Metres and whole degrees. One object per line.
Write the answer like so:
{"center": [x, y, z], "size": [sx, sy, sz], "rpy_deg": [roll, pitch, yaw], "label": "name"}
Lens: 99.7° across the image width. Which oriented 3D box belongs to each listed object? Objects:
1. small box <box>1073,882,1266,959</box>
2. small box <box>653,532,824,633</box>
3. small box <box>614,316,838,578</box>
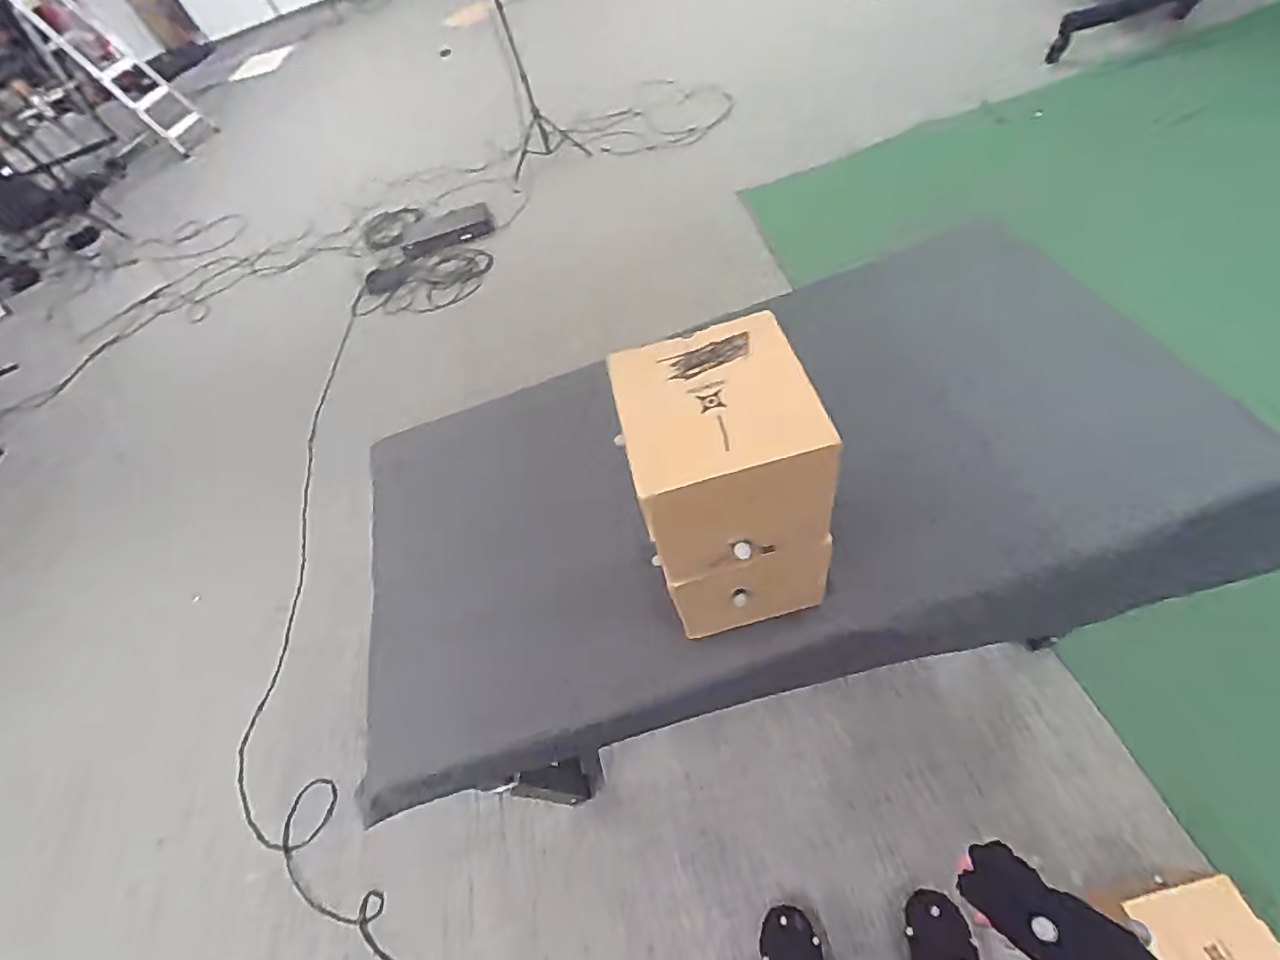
{"center": [0.878, 0.784, 0.890], "size": [0.179, 0.176, 0.168], "rpy_deg": [-18, 53, 3], "label": "small box"}
{"center": [0.112, 0.071, 0.667], "size": [0.179, 0.176, 0.168], "rpy_deg": [-16, 53, 4], "label": "small box"}
{"center": [0.078, -0.027, 0.539], "size": [0.168, 0.176, 0.179], "rpy_deg": [-14, 54, 4], "label": "small box"}
